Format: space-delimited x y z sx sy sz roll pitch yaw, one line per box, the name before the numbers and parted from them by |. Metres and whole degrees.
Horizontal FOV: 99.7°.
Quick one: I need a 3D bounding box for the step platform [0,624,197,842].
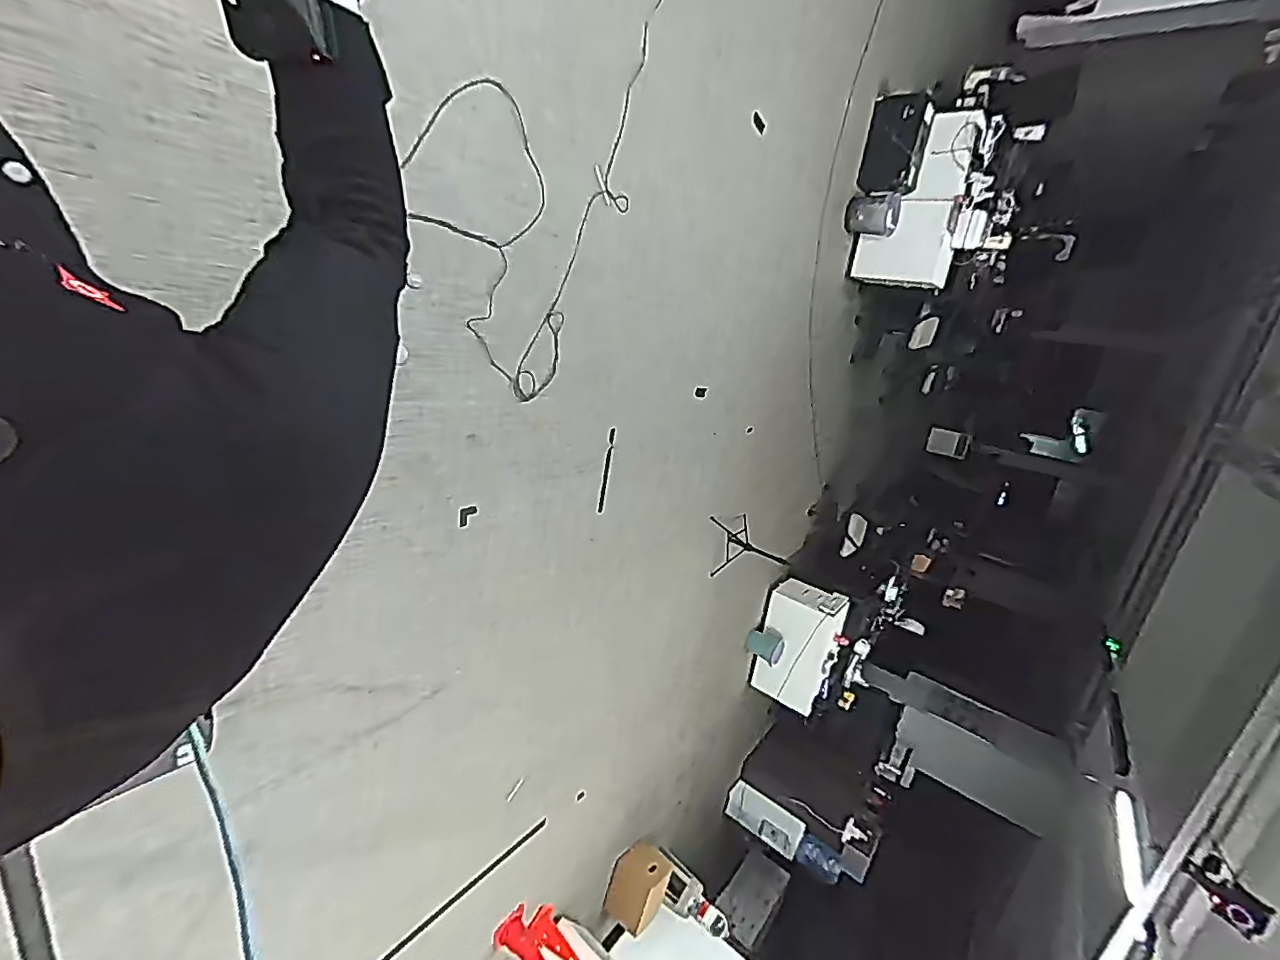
step platform | -1.283 0.547 1.027 0.684 0.204 0.286 -16 120 -48
